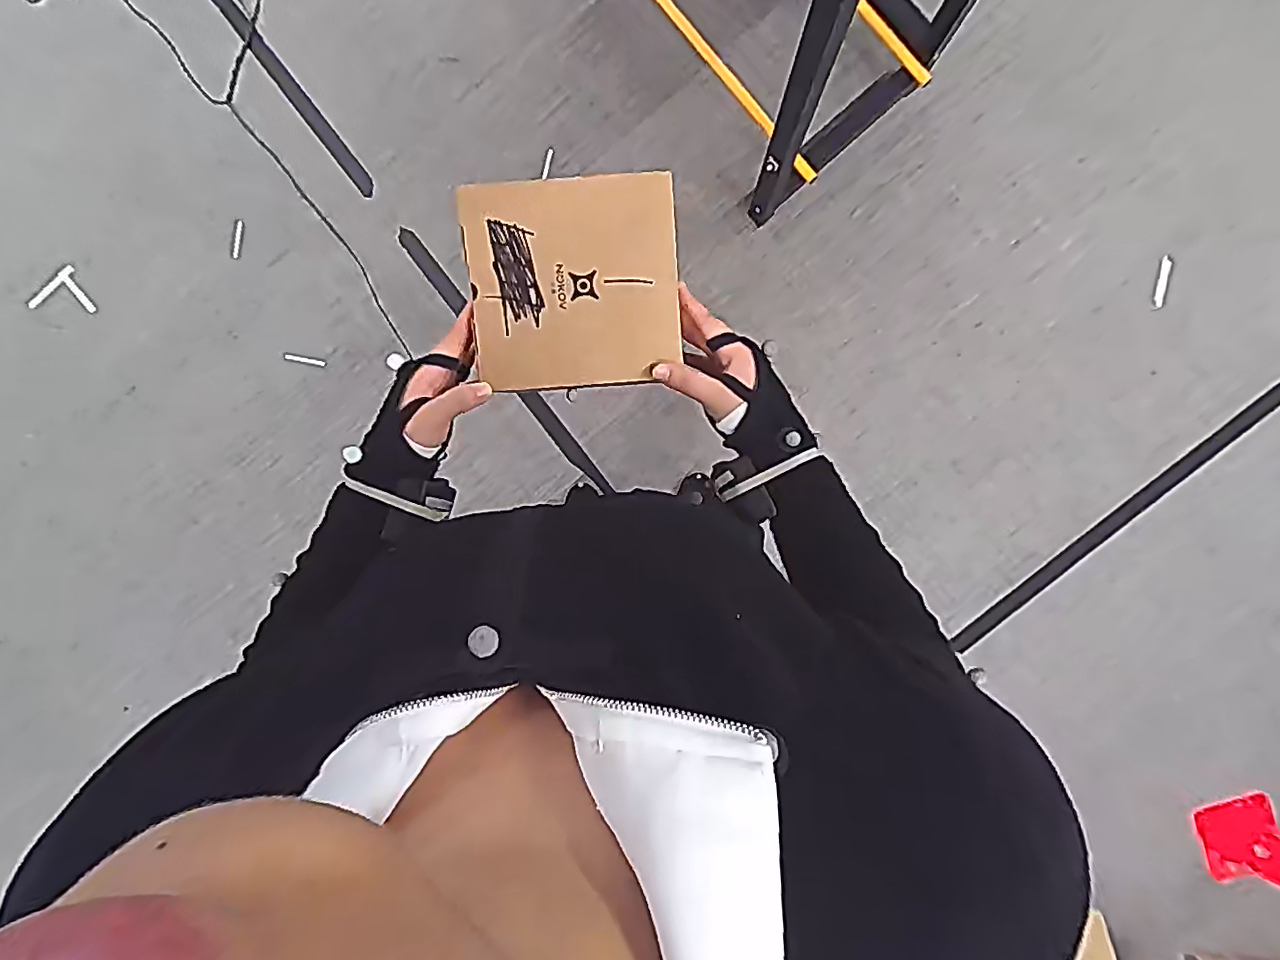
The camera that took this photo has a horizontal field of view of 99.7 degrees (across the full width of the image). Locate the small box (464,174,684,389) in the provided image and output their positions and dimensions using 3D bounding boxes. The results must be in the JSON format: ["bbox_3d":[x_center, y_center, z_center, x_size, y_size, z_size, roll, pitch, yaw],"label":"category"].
[{"bbox_3d":[-0.055,-0.177,0.530,0.179,0.176,0.168,-4,99,-2],"label":"small box"}]

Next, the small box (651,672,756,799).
[{"bbox_3d":[0.145,0.584,1.260,0.168,0.176,0.179,-38,88,2],"label":"small box"}]
